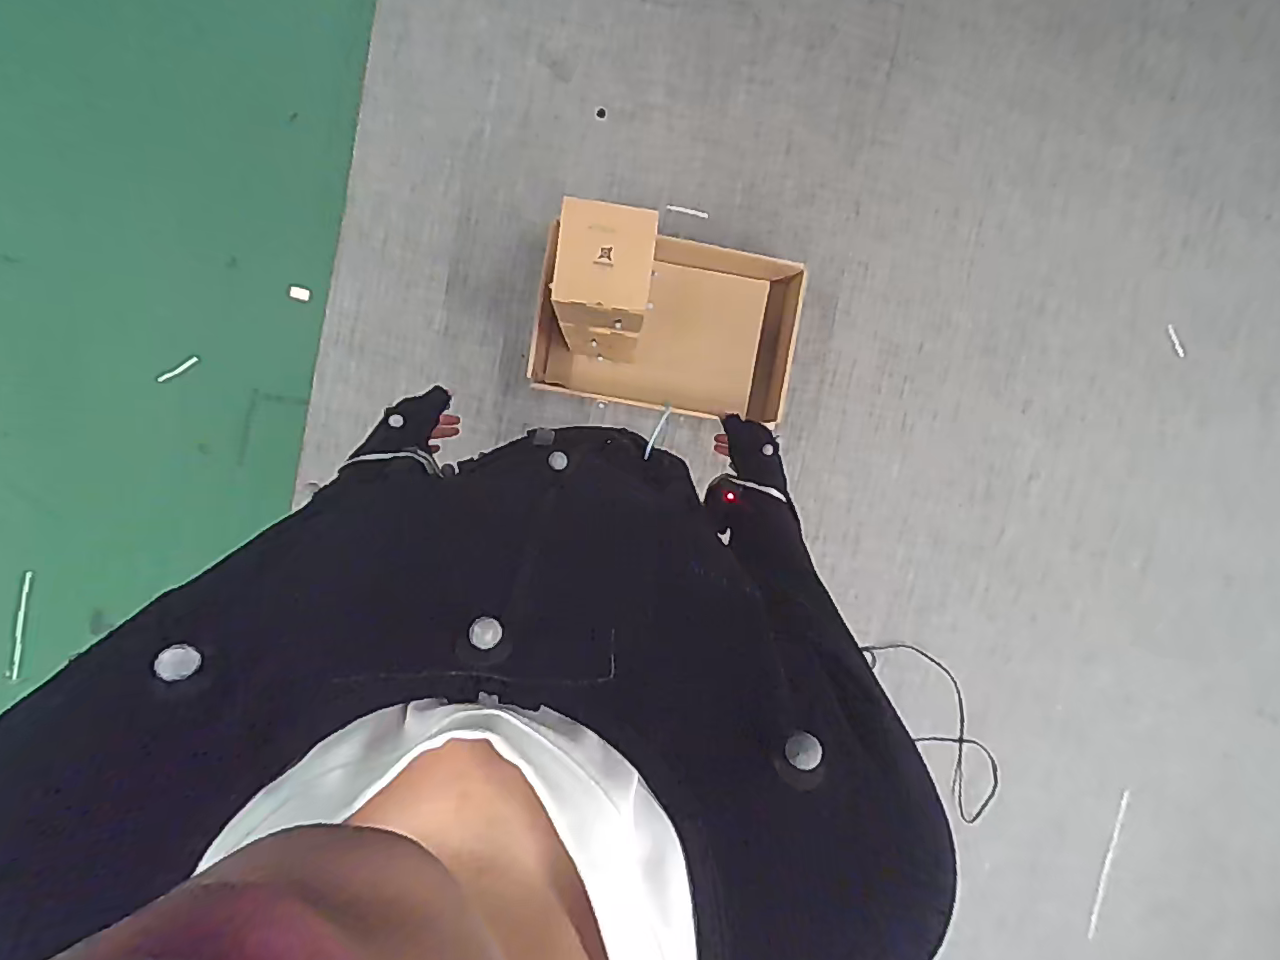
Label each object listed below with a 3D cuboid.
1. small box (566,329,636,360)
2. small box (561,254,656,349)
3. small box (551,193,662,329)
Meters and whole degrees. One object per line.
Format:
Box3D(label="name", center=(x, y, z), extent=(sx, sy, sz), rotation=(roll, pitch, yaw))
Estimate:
Box3D(label="small box", center=(-0.079, -0.402, 1.309), extent=(0.168, 0.176, 0.179), rotation=(11, 94, -4))
Box3D(label="small box", center=(-0.069, -0.391, 1.147), extent=(0.168, 0.176, 0.179), rotation=(10, 94, -4))
Box3D(label="small box", center=(-0.061, -0.385, 0.984), extent=(0.168, 0.176, 0.179), rotation=(8, 94, -5))
